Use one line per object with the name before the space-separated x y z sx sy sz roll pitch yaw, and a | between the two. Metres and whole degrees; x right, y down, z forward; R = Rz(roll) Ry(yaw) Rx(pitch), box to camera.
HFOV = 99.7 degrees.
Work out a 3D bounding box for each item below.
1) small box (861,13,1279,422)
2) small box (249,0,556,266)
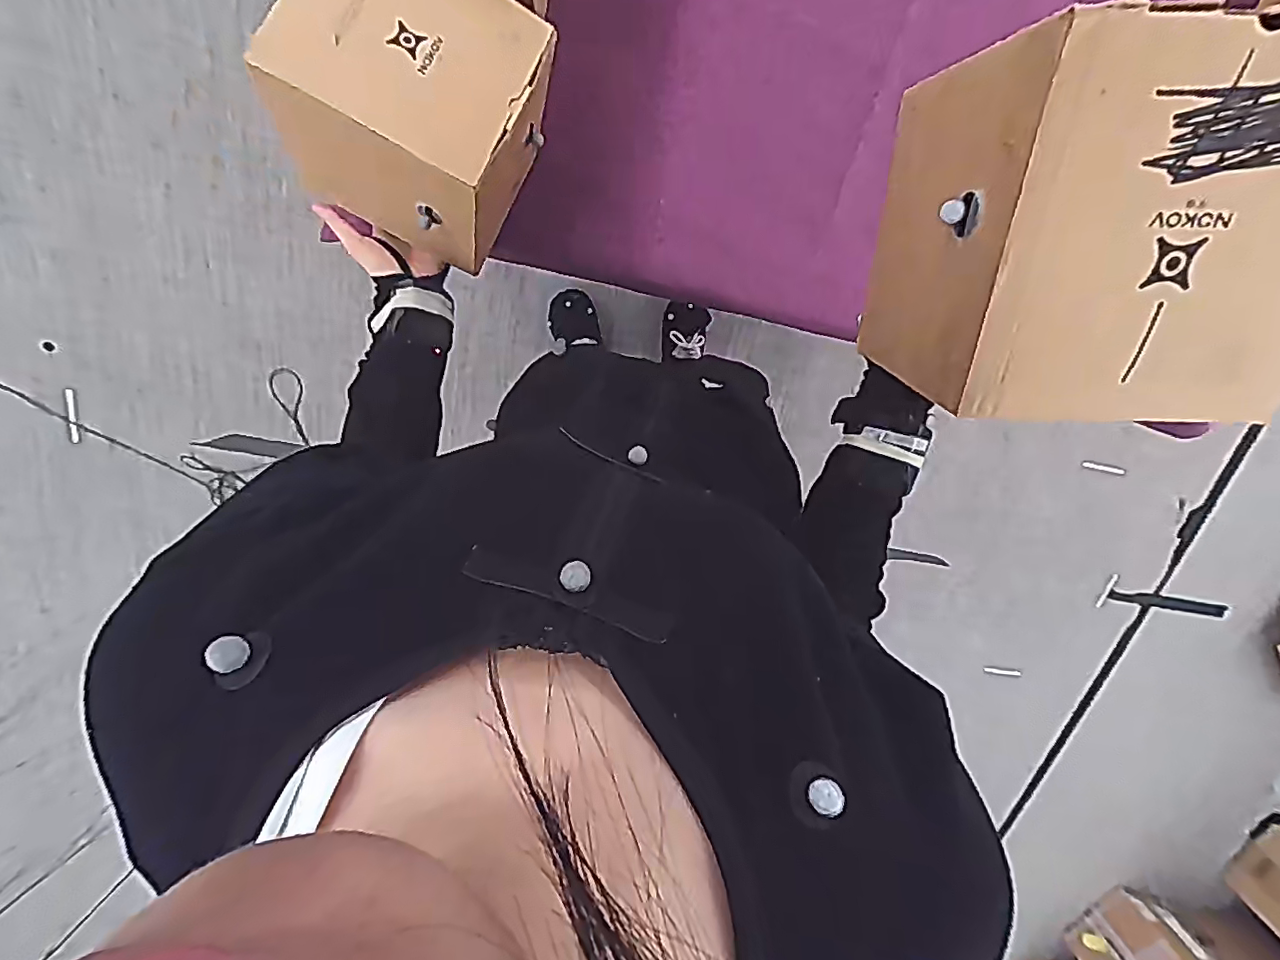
small box | 0.255 -0.147 0.332 0.168 0.176 0.179 2 116 1
small box | -0.198 -0.326 0.495 0.179 0.176 0.168 23 80 -14
